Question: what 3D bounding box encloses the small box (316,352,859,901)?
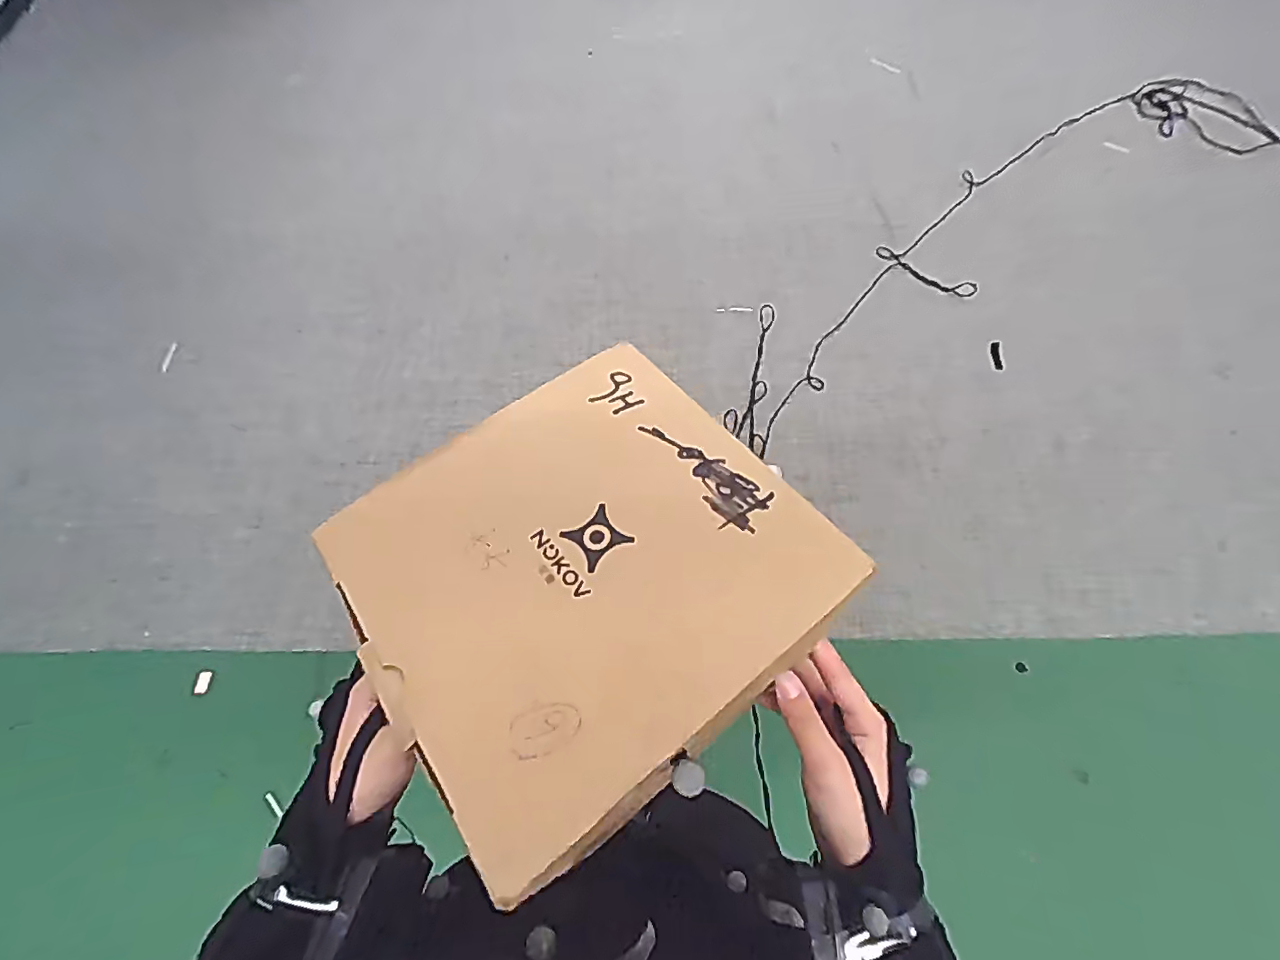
[{"bbox_3d":[-0.021,0.074,0.291,0.179,0.176,0.168,-35,62,-15],"label":"small box"}]
